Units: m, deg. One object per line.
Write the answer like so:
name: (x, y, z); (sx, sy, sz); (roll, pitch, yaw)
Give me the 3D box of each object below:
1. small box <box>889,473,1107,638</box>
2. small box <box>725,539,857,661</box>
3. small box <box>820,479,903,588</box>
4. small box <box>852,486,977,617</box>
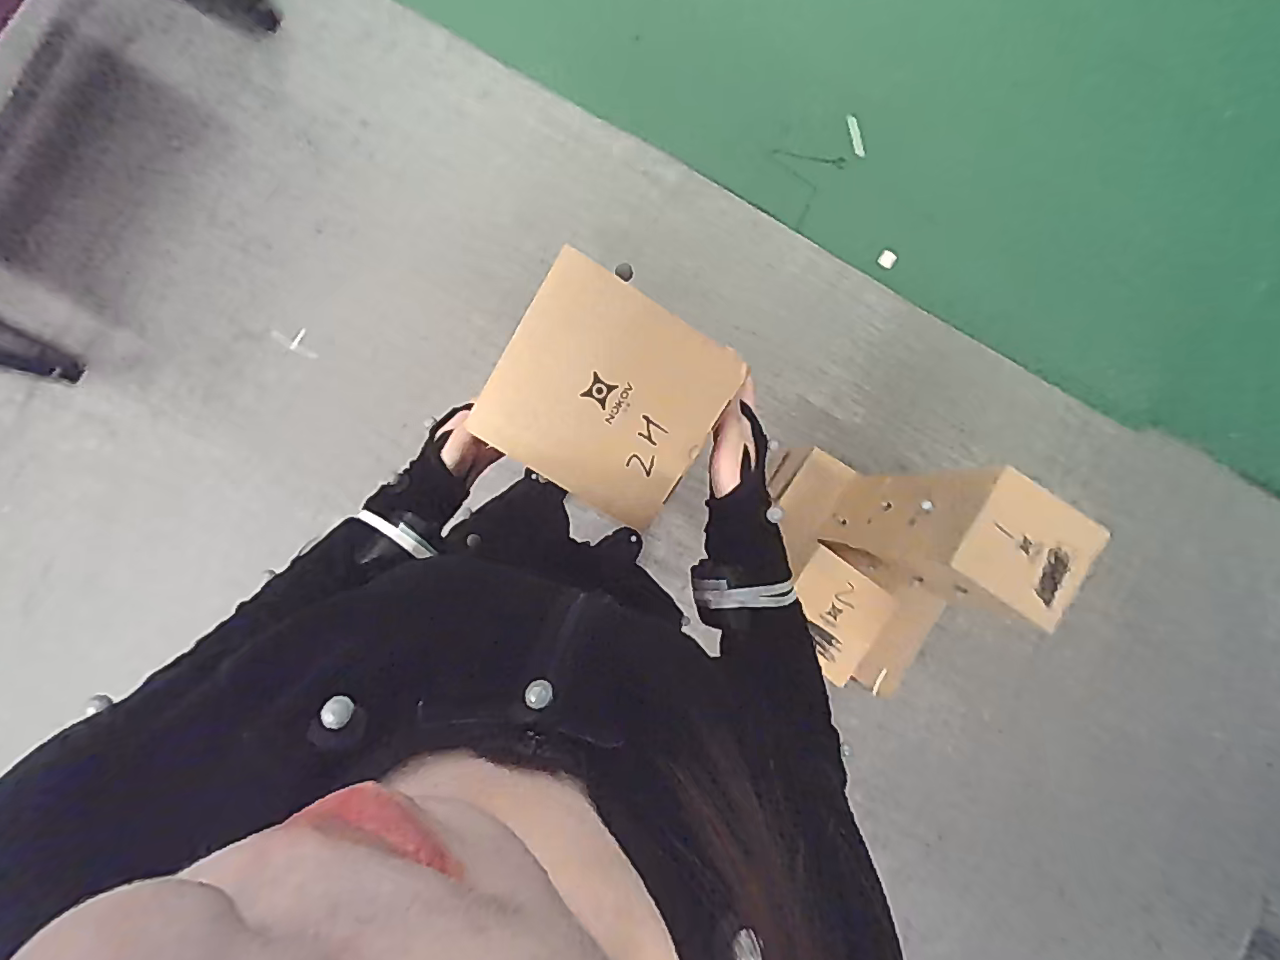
small box: (0.524, 0.104, 0.817); (0.179, 0.176, 0.168); (34, 86, -1)
small box: (0.304, 0.237, 1.124); (0.179, 0.176, 0.168); (36, 86, -3)
small box: (0.515, 0.116, 1.143); (0.179, 0.176, 0.168); (34, 86, -3)
small box: (0.526, 0.117, 0.980); (0.179, 0.176, 0.168); (34, 86, 0)
